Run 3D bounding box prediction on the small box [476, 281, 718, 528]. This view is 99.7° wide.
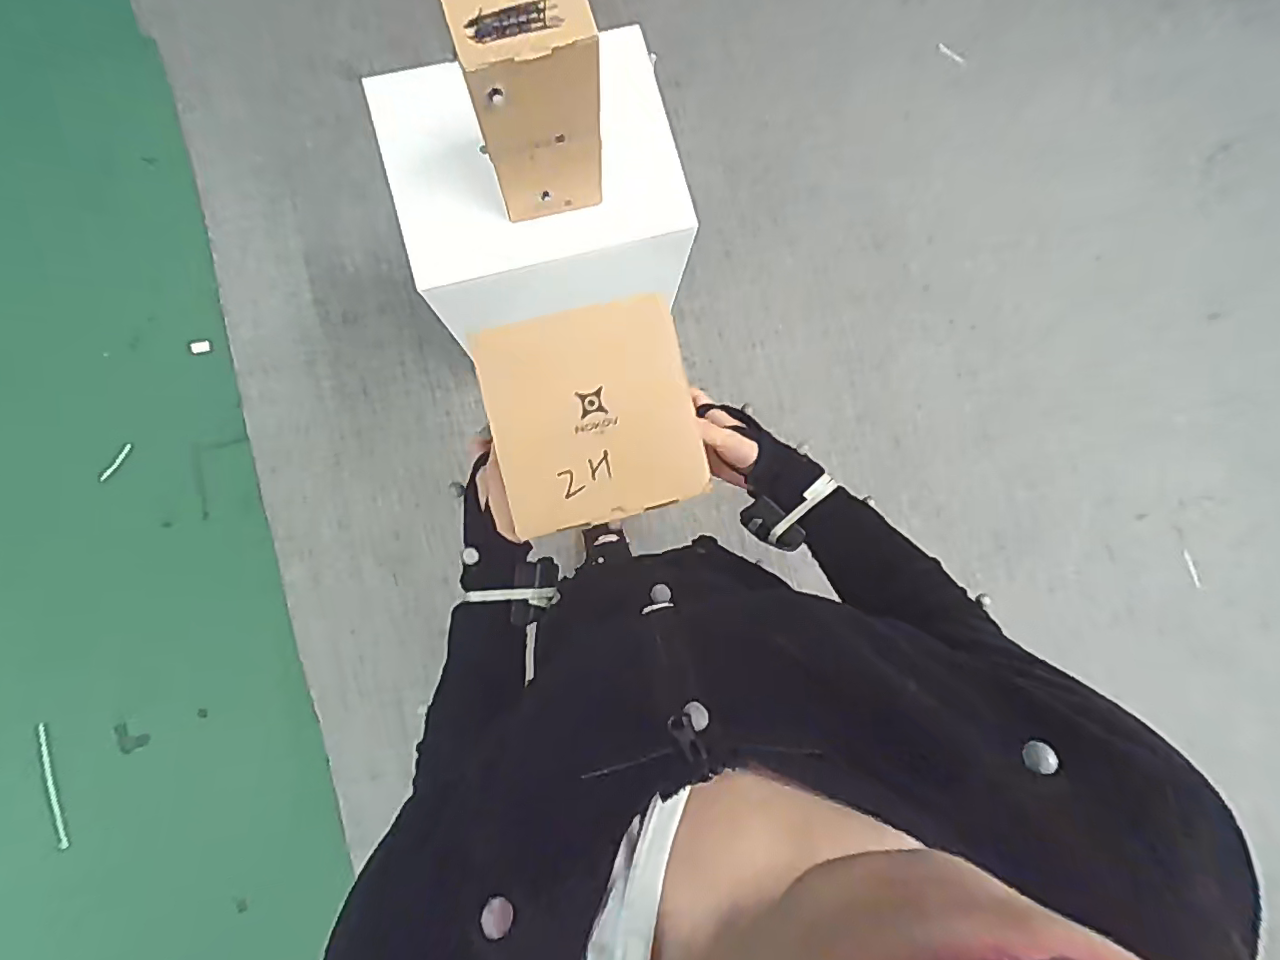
[{"bbox_3d":[-0.040,-0.058,0.510,0.168,0.176,0.179,-13,89,-5],"label":"small box"}]

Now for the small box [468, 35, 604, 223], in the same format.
[{"bbox_3d":[-0.159,-0.553,0.870,0.168,0.176,0.179,-15,86,-5],"label":"small box"}]
